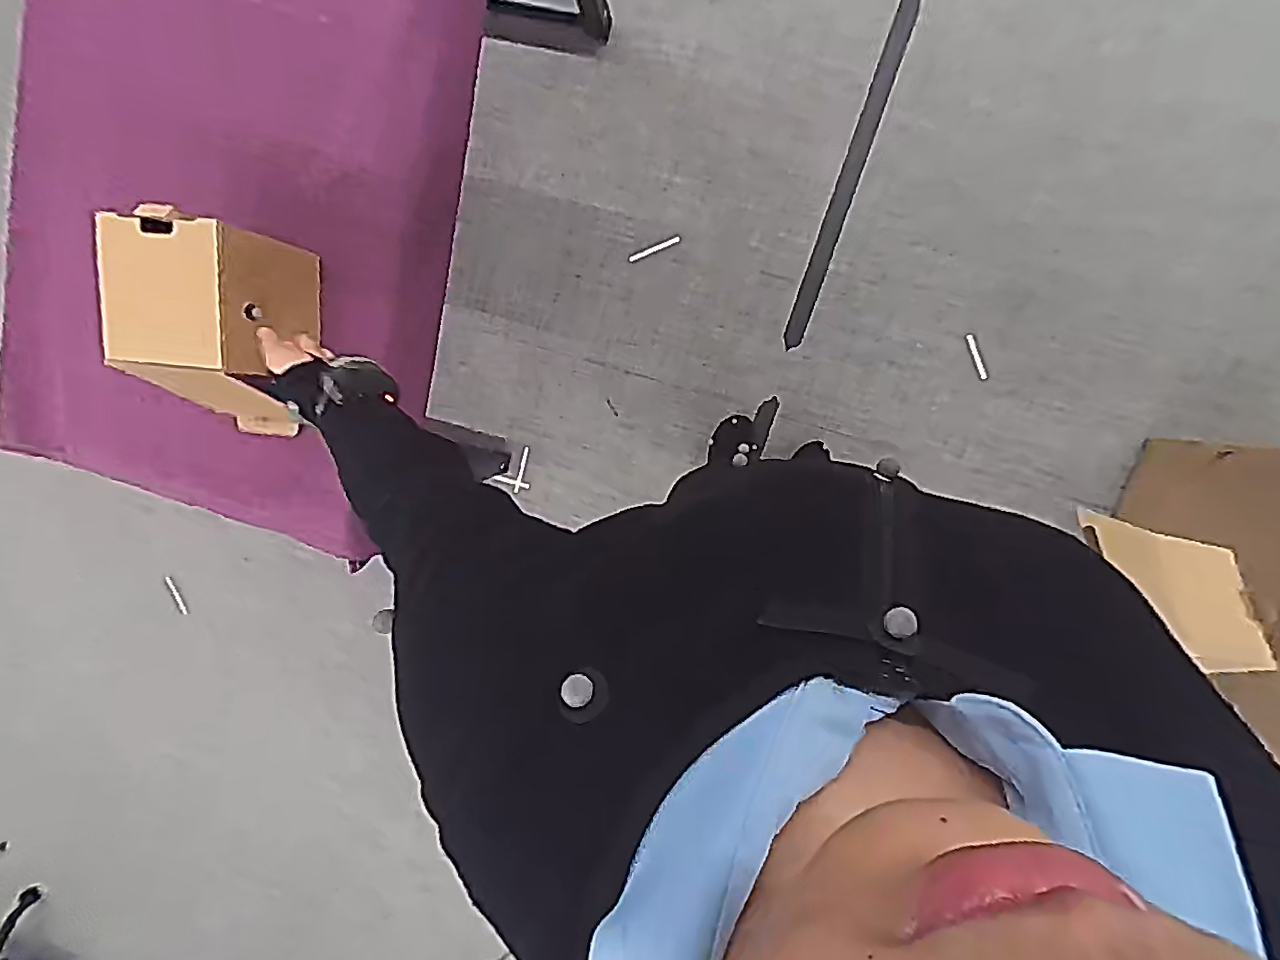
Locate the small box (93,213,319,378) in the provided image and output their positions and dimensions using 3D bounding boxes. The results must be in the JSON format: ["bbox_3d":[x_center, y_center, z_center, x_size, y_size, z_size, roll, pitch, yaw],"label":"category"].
[{"bbox_3d":[-0.556,-0.231,0.715,0.168,0.176,0.179,6,99,6],"label":"small box"}]
